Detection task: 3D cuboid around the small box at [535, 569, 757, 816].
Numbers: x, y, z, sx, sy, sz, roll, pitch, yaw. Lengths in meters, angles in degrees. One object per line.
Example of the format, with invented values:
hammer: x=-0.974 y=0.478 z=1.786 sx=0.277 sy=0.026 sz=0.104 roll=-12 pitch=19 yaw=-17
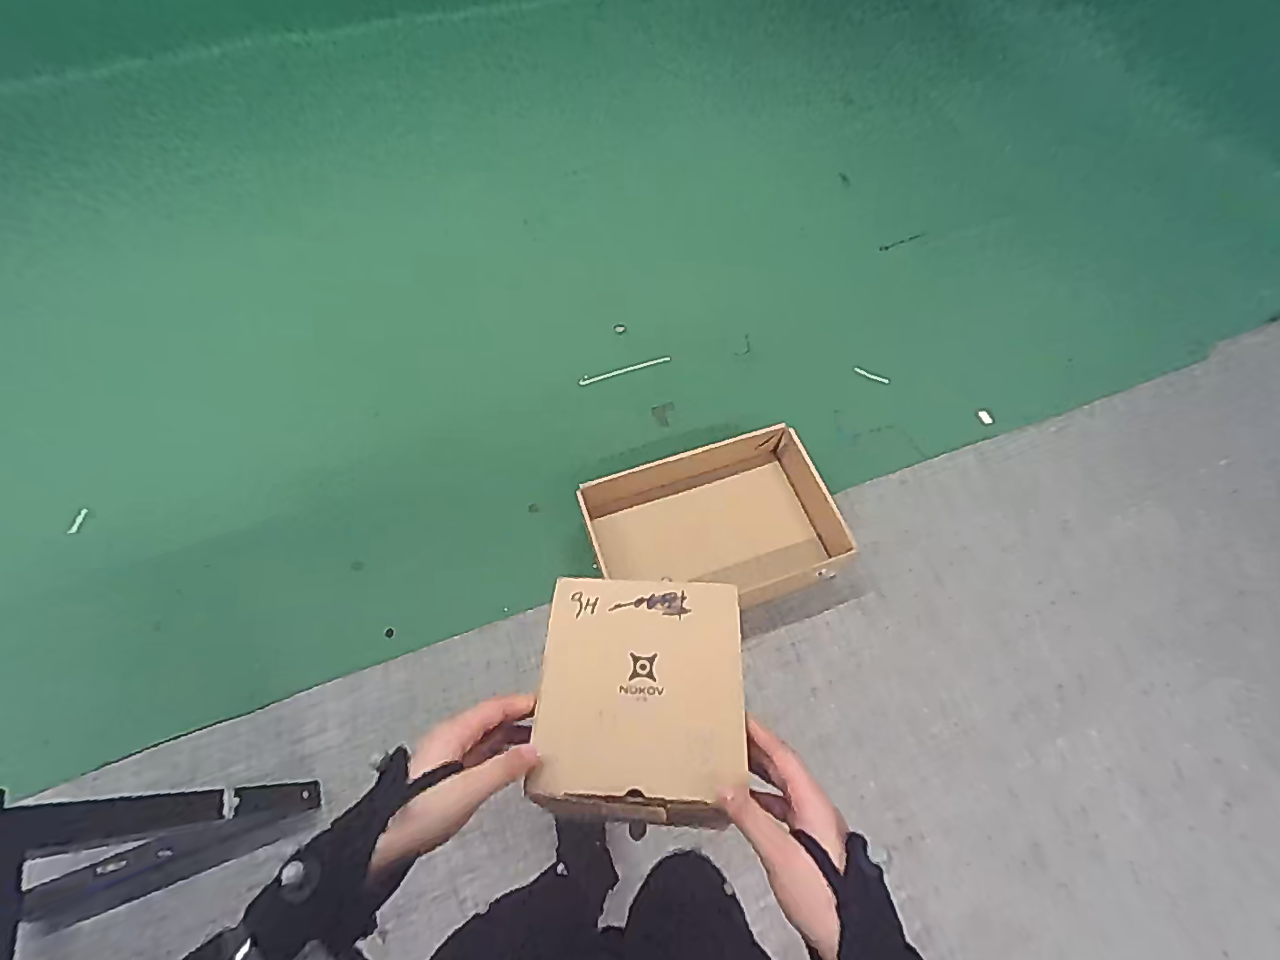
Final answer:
small box: x=0.012 y=0.201 z=0.499 sx=0.168 sy=0.176 sz=0.179 roll=2 pitch=55 yaw=3
